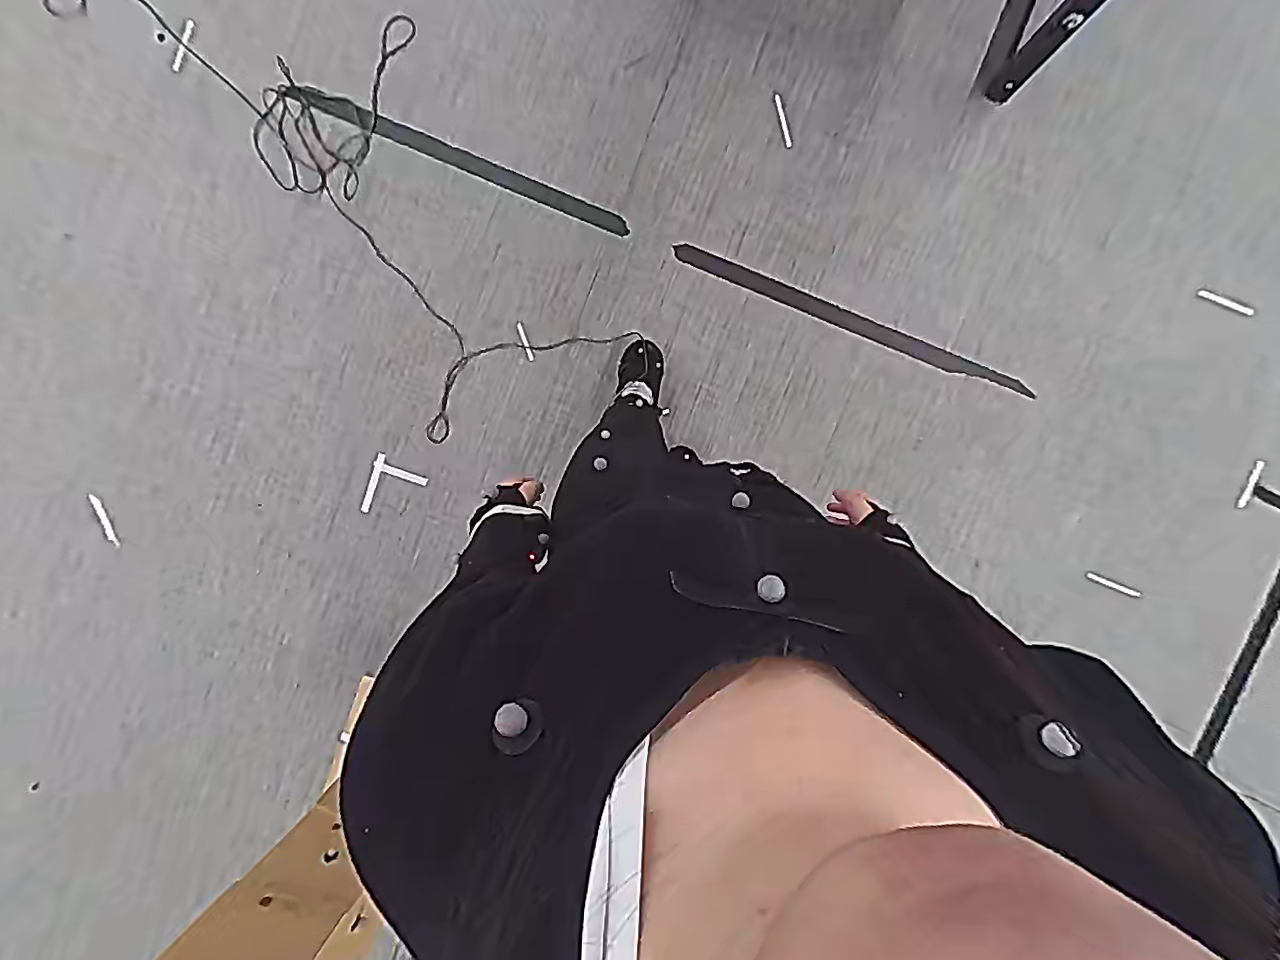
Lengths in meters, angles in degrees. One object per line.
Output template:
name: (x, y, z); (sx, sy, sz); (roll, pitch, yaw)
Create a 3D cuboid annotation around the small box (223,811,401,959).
small box: (-0.498, 0.659, 0.840); (0.168, 0.176, 0.179); (13, 93, 2)
